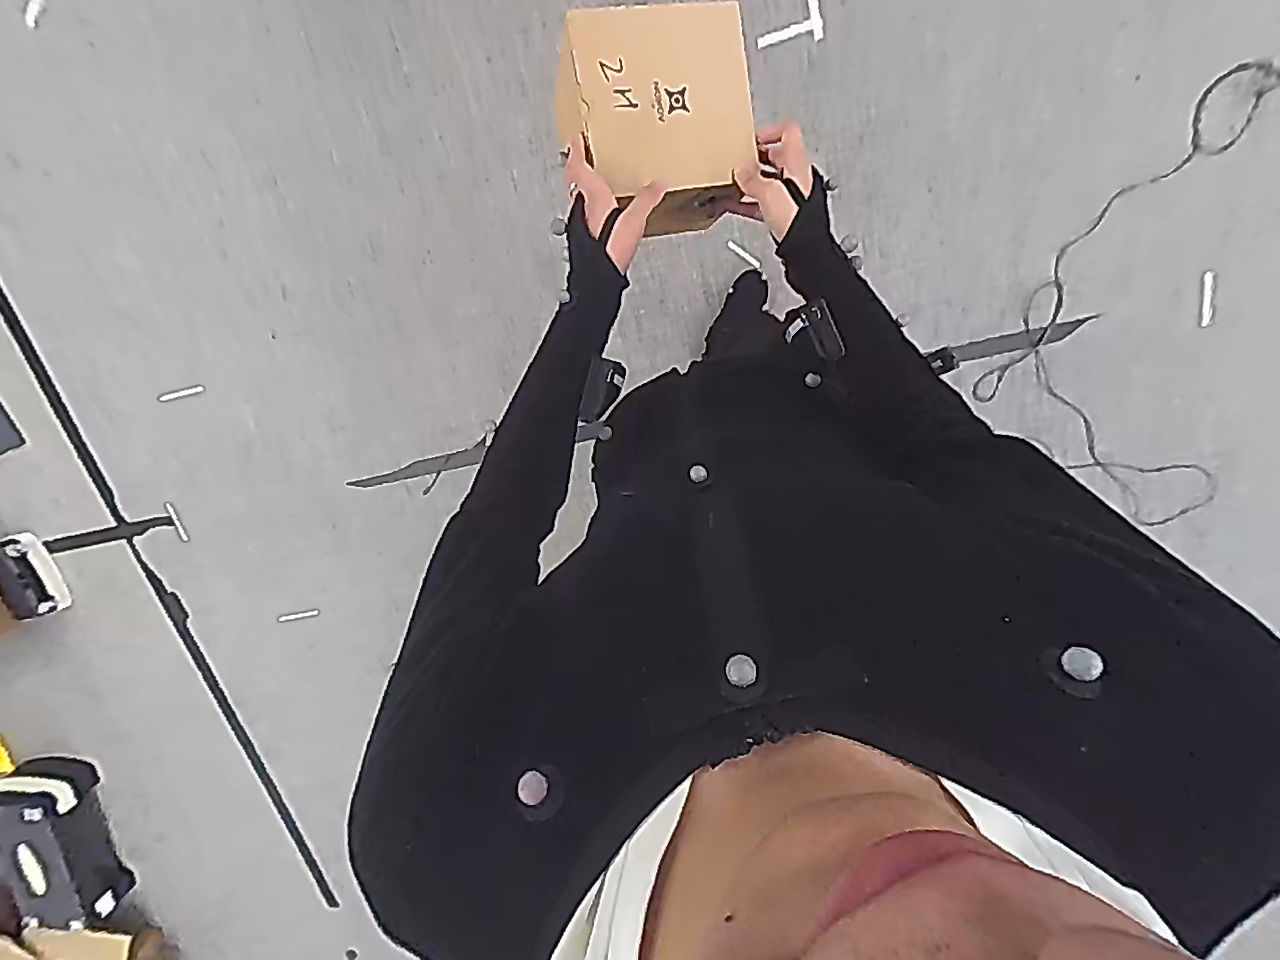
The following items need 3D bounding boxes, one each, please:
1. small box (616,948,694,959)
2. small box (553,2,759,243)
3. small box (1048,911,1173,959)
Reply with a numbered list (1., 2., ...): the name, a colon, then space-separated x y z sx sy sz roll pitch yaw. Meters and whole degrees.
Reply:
1. small box: 0.043 1.145 1.152 0.179 0.176 0.168 -11 106 5
2. small box: 0.009 -0.379 0.600 0.179 0.176 0.168 -13 101 -10
3. small box: 0.927 0.972 1.043 0.168 0.176 0.179 -13 107 8
